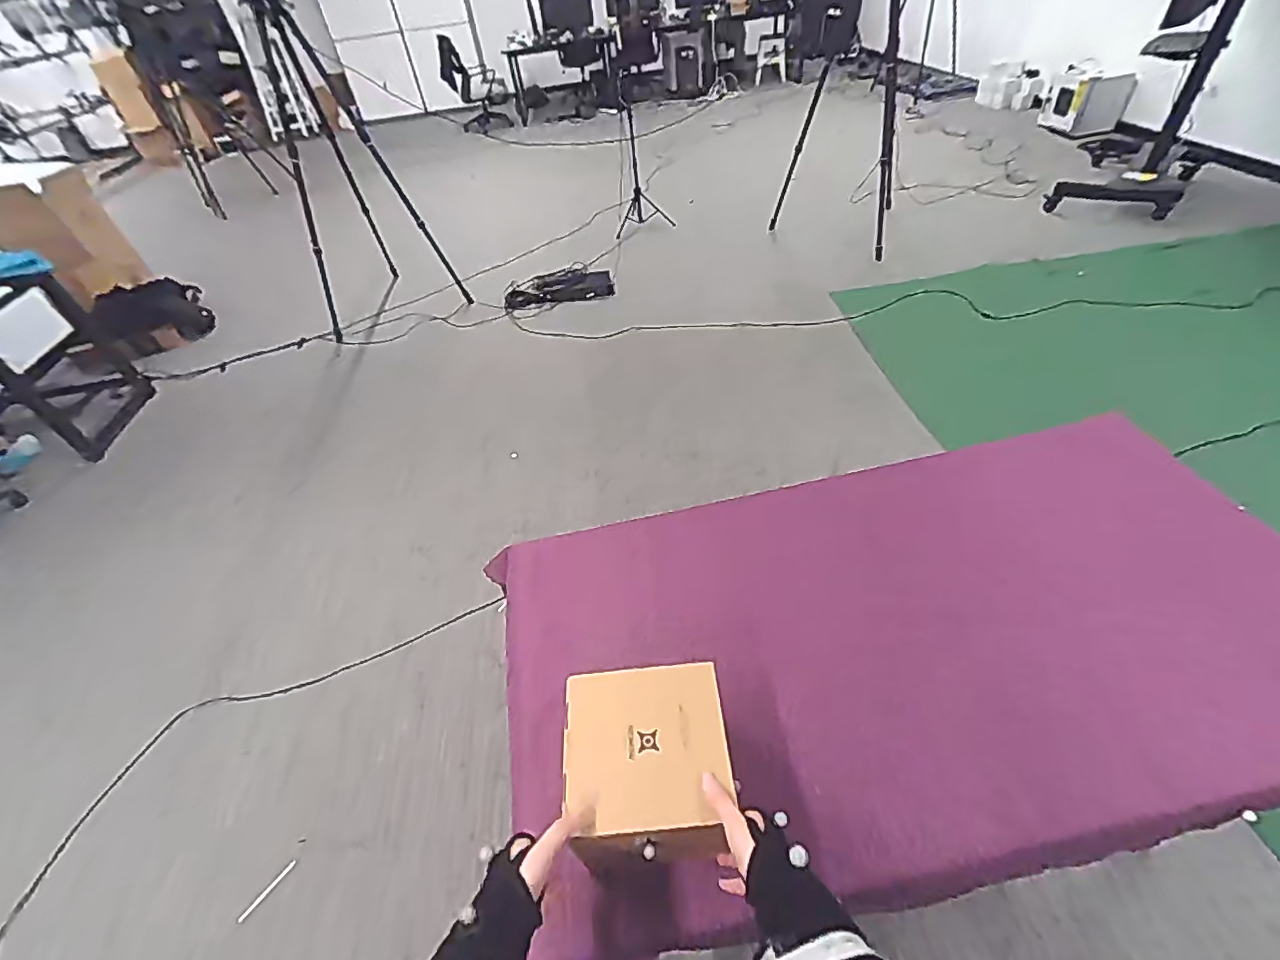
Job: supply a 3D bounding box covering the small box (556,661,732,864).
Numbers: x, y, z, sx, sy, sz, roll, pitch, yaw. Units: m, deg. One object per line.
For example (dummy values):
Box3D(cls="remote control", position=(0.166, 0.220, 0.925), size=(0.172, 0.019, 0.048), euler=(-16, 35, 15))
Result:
Box3D(cls="small box", position=(0.009, 0.334, 0.635), size=(0.179, 0.176, 0.168), euler=(-6, 45, 2))
